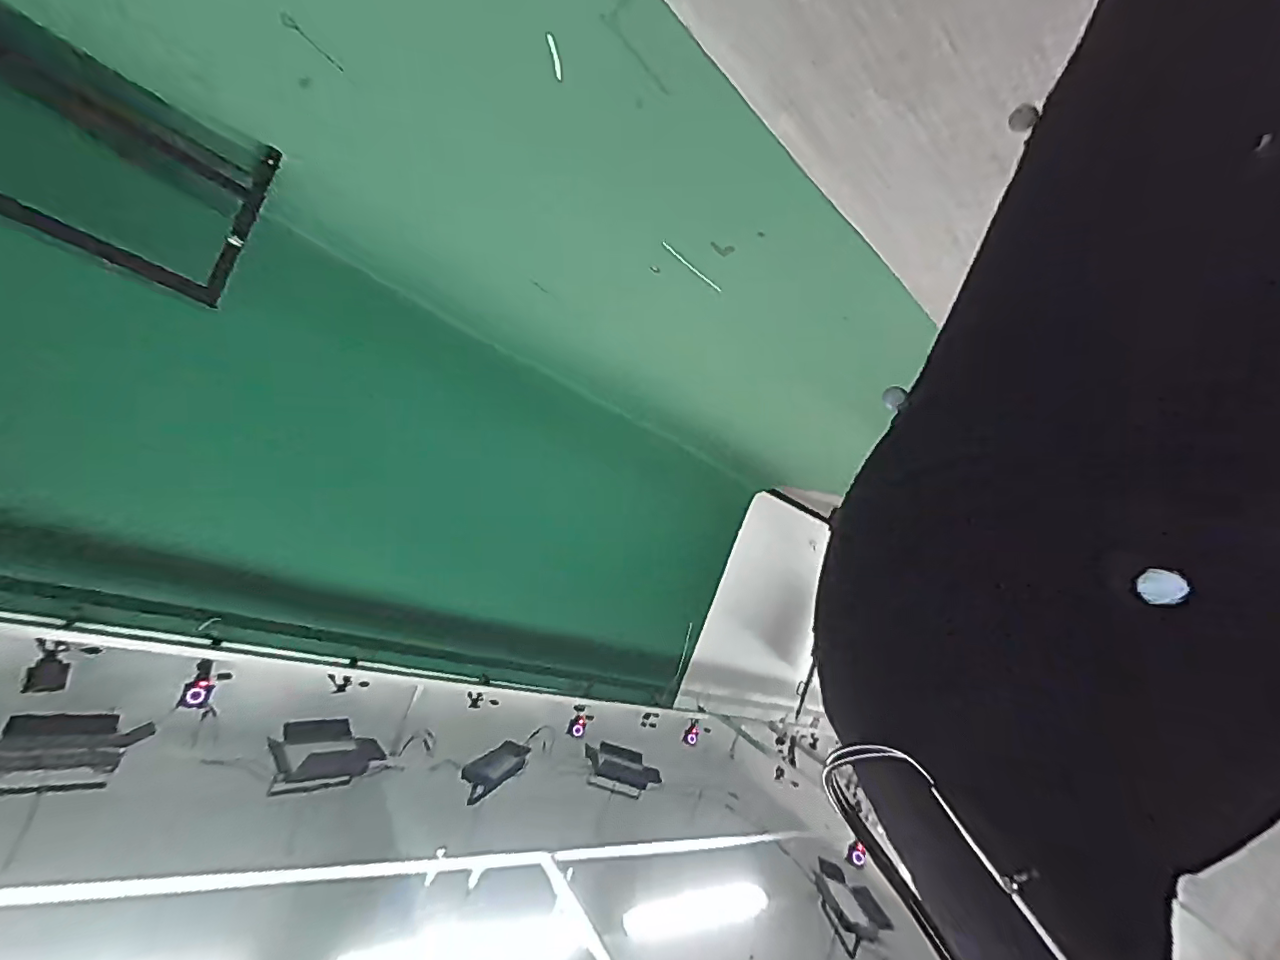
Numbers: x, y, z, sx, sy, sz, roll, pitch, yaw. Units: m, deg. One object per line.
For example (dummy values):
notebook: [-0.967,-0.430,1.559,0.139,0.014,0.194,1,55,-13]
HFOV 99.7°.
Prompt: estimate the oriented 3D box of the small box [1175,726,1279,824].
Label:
small box: [1.546,0.761,1.409,0.179,0.176,0.168,24,176,-32]
